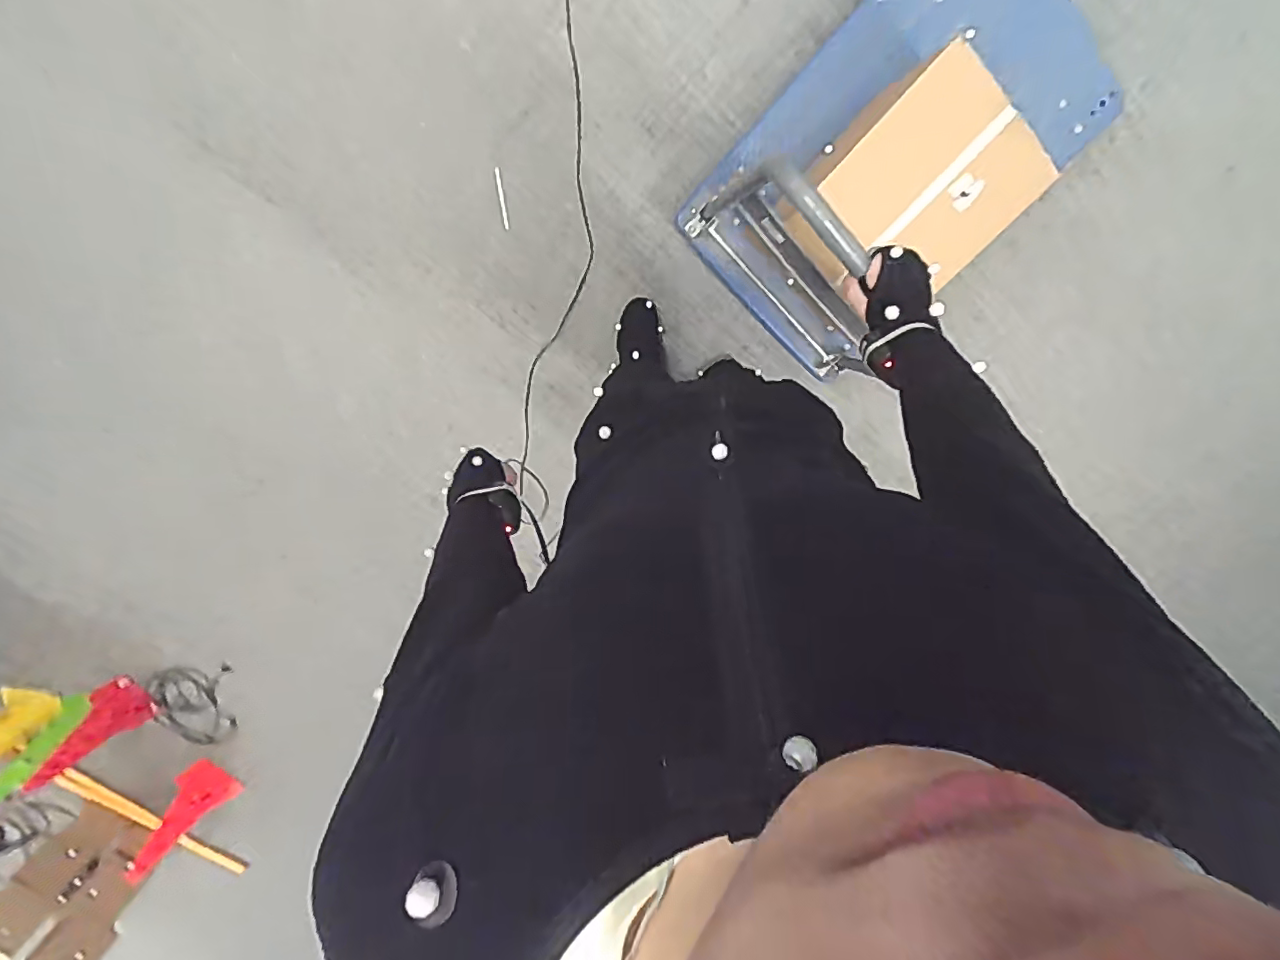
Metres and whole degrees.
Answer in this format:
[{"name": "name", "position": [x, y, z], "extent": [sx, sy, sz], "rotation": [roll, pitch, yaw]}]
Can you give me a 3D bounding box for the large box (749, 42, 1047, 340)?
[{"name": "large box", "position": [0.498, -0.558, 1.135], "extent": [0.320, 0.320, 0.408], "rotation": [40, 104, -15]}]
